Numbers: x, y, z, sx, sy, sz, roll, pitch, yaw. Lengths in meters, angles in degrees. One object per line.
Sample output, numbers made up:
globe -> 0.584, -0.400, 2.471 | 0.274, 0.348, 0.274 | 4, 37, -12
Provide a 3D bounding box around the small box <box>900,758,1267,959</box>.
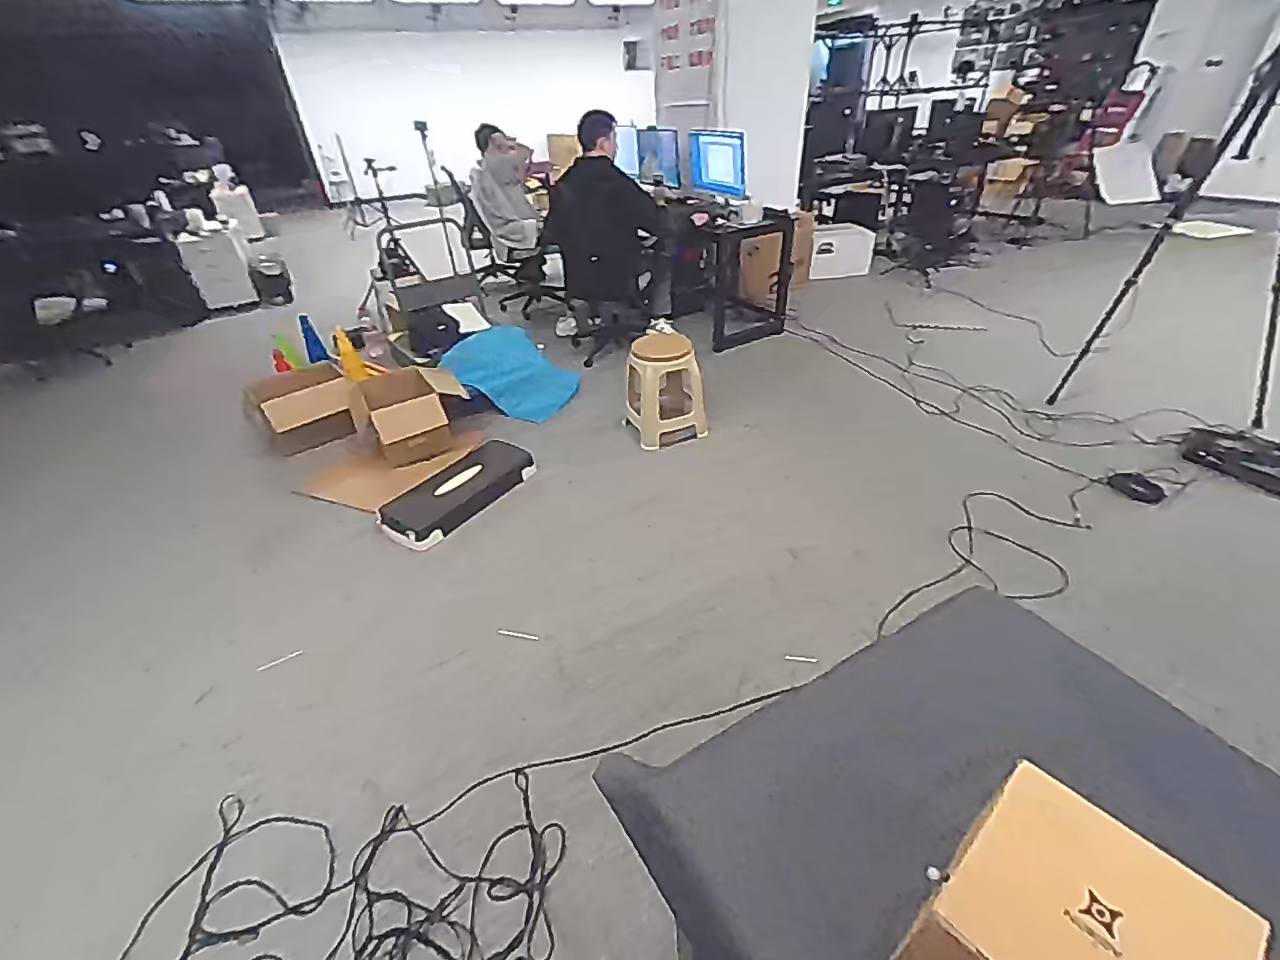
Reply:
small box -> 0.345, 0.386, 0.449 | 0.179, 0.176, 0.168 | -29, 43, -31
